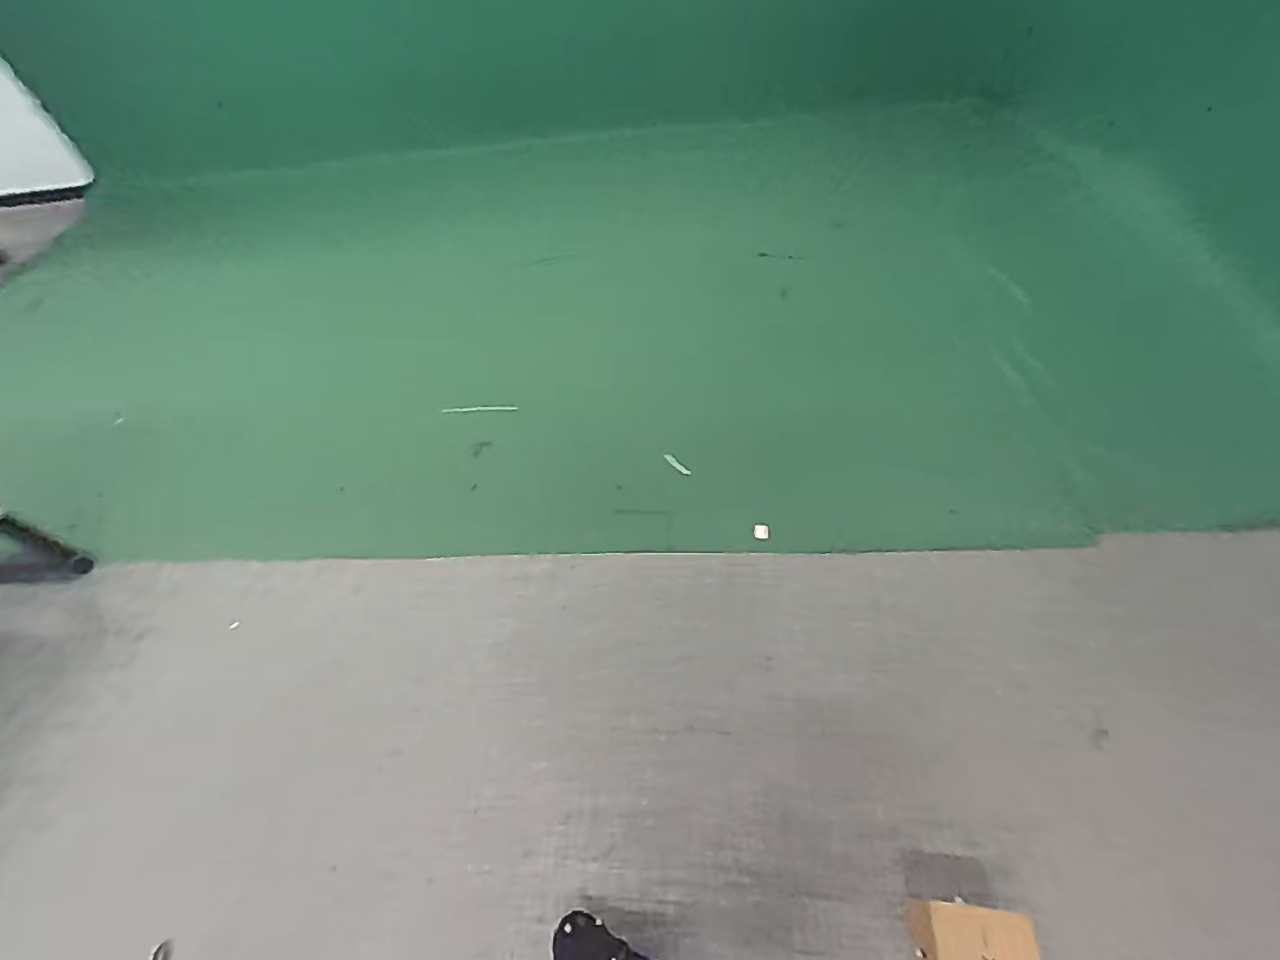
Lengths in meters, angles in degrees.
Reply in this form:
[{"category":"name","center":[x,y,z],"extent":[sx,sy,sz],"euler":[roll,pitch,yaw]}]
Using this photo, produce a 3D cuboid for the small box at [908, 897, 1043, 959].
[{"category":"small box","center":[0.590,0.861,0.952],"extent":[0.168,0.176,0.179],"euler":[3,51,10]}]
